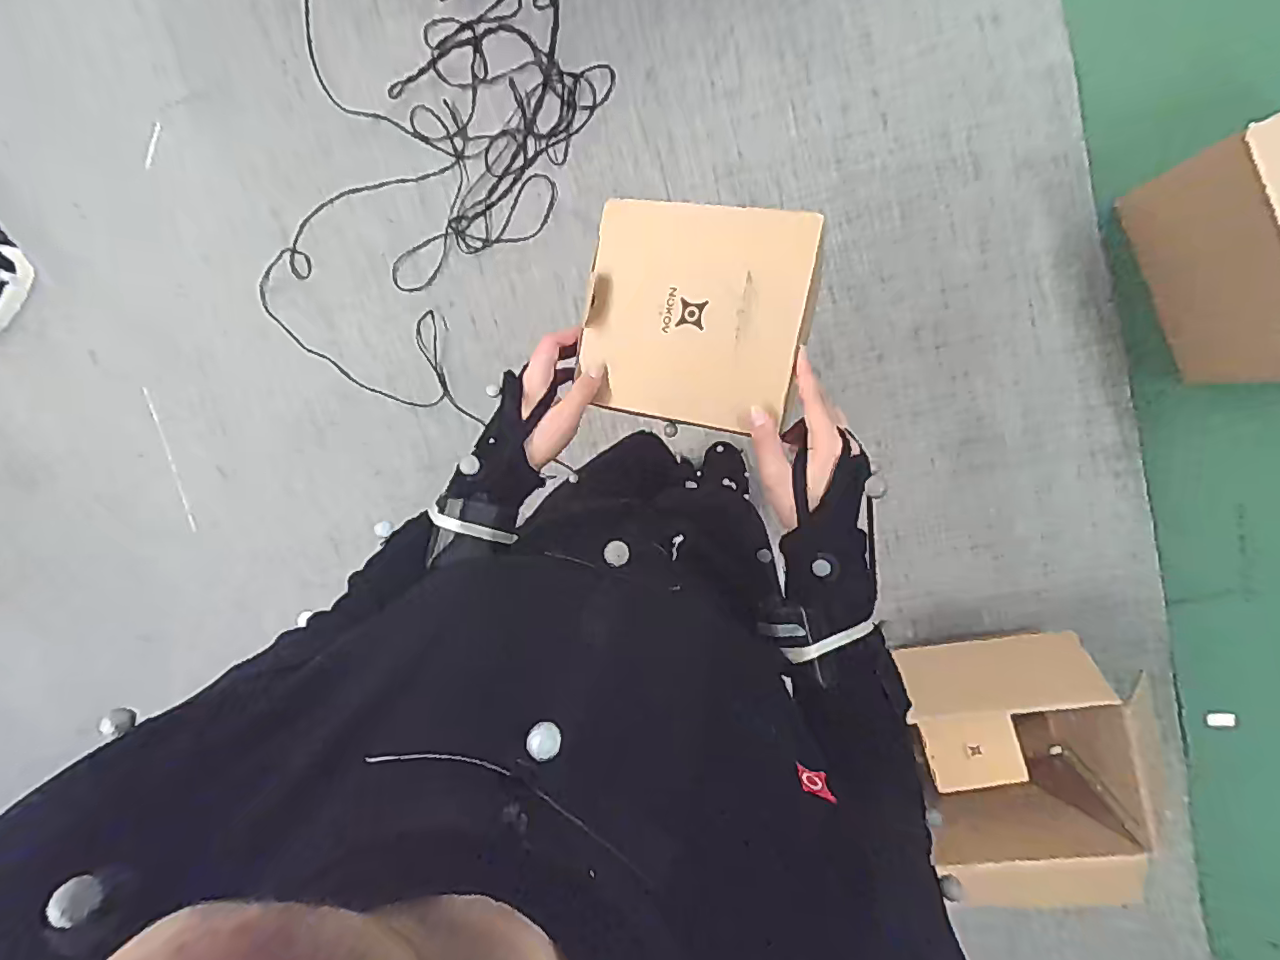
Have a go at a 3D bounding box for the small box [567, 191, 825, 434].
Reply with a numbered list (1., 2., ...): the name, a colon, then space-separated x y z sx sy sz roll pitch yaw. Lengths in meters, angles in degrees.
1. small box: 0.058 -0.136 0.489 0.179 0.176 0.168 12 97 15
